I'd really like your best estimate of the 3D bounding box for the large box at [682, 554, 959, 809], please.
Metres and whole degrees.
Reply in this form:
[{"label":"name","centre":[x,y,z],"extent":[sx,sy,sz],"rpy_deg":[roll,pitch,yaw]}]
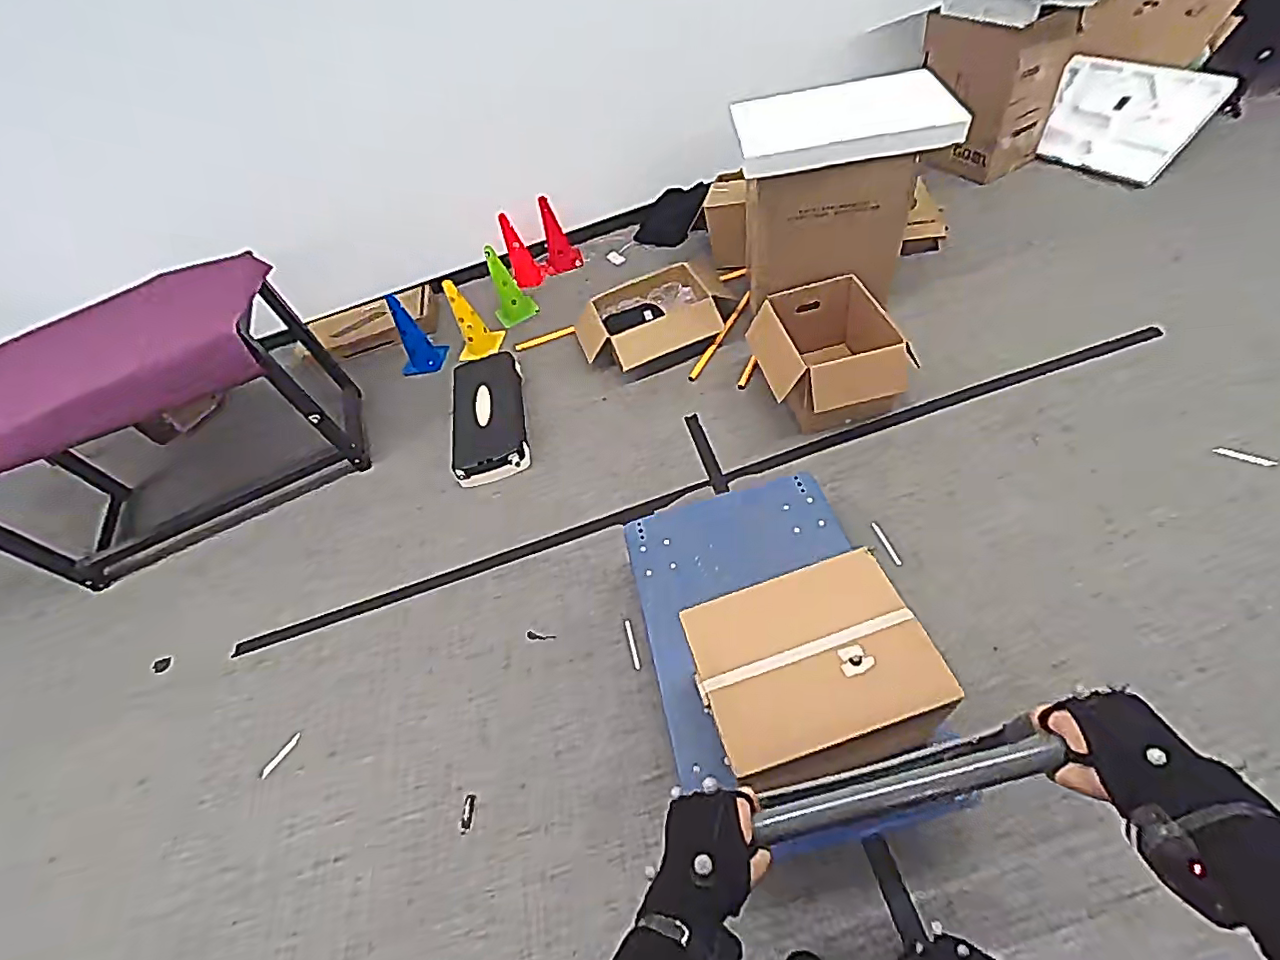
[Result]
[{"label":"large box","centre":[0.335,0.414,1.102],"extent":[0.408,0.320,0.320],"rpy_deg":[-19,51,-2]}]
